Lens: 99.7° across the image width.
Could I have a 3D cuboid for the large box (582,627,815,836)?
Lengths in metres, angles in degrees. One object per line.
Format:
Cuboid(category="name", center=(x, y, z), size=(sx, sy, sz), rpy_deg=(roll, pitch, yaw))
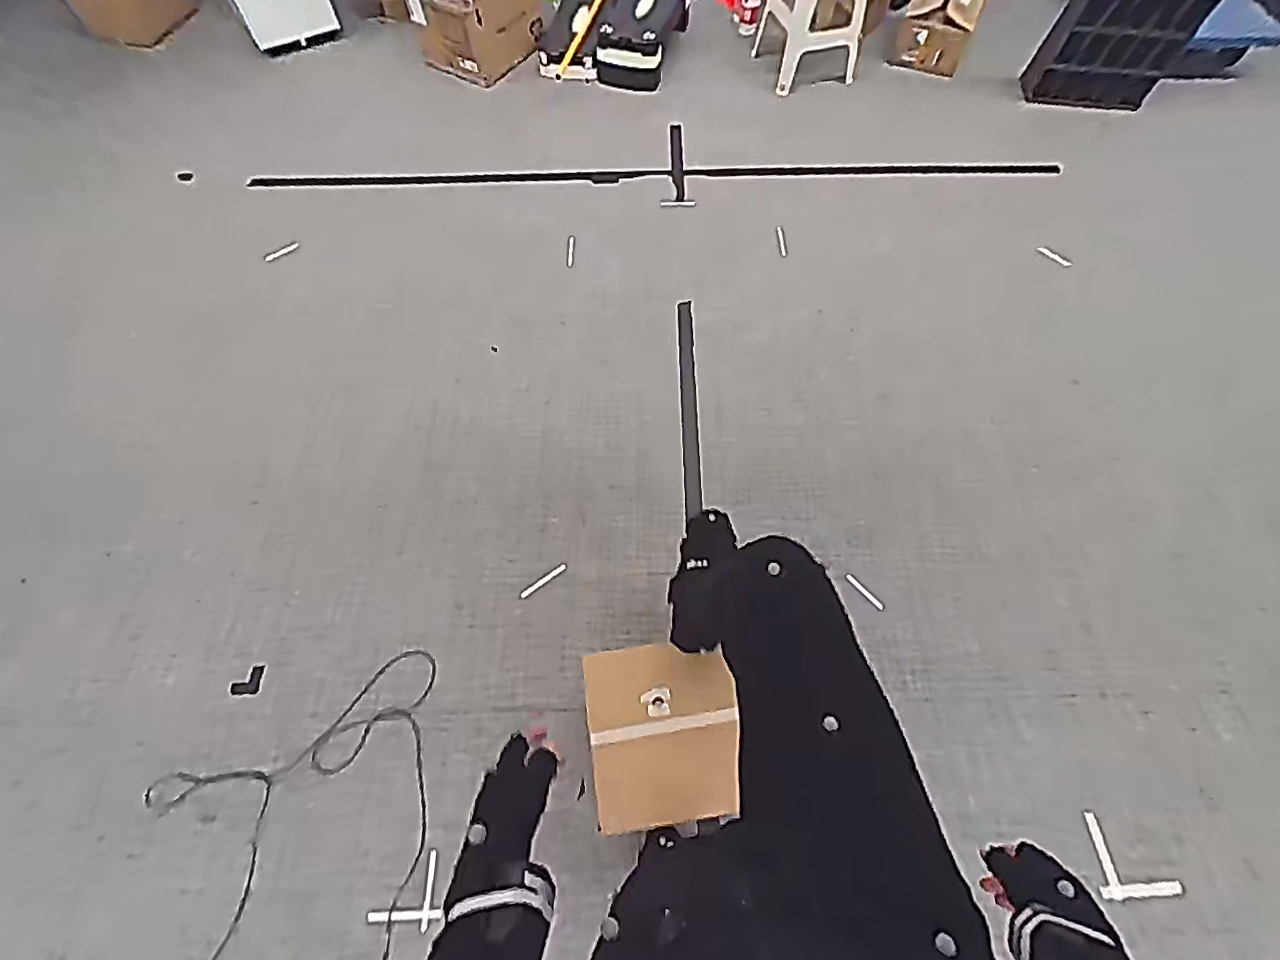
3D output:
Cuboid(category="large box", center=(0.105, 0.532, 1.169), size=(0.408, 0.320, 0.320), rpy_deg=(-8, 63, -3))
